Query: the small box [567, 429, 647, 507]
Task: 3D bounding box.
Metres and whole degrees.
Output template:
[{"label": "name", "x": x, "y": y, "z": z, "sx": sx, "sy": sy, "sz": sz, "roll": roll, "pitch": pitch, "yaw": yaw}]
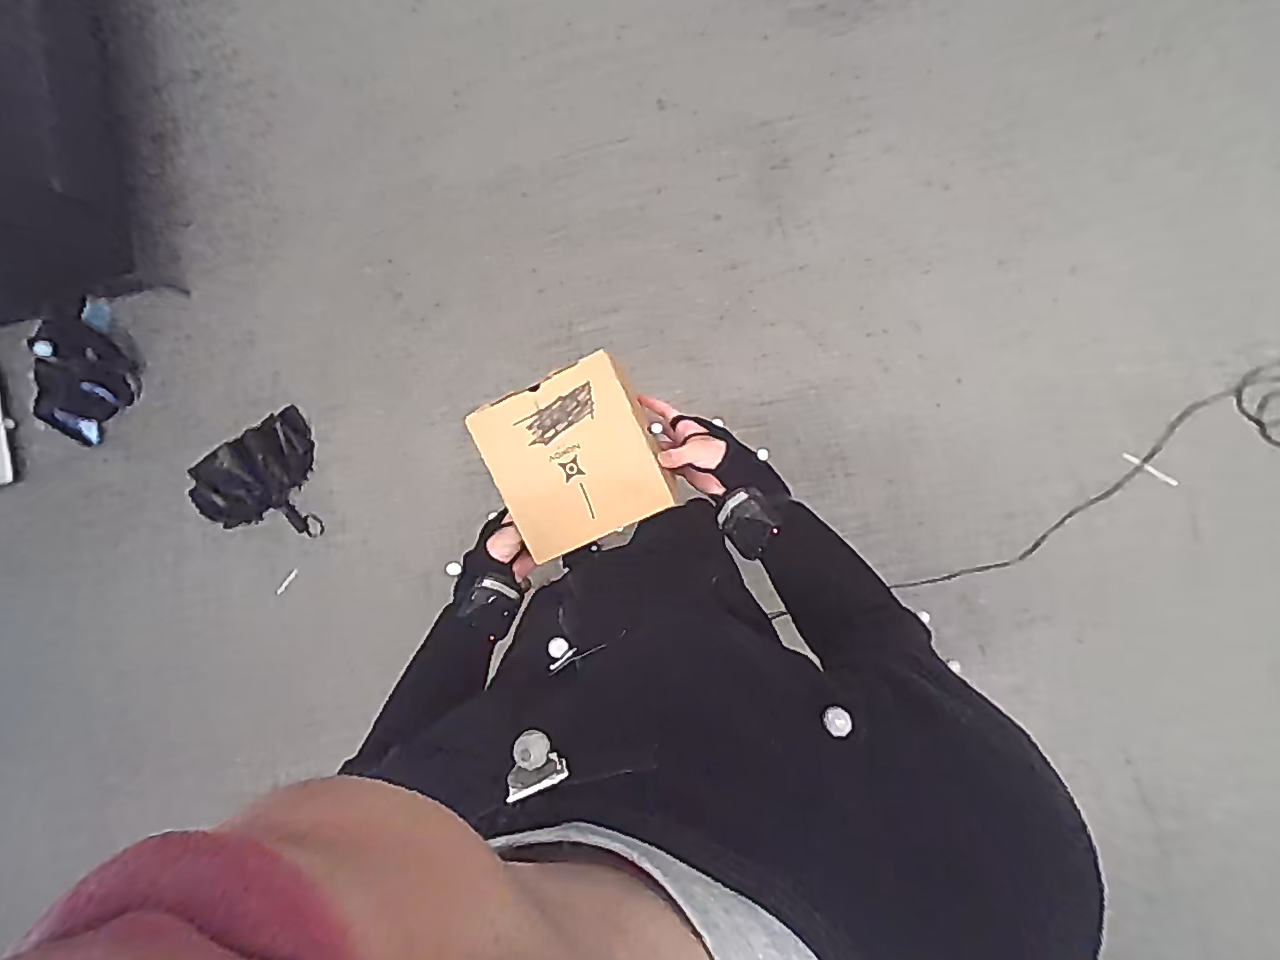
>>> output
[{"label": "small box", "x": -0.085, "y": -0.029, "z": 1.477, "sx": 0.168, "sy": 0.176, "sz": 0.179, "roll": -14, "pitch": 88, "yaw": 8}]
